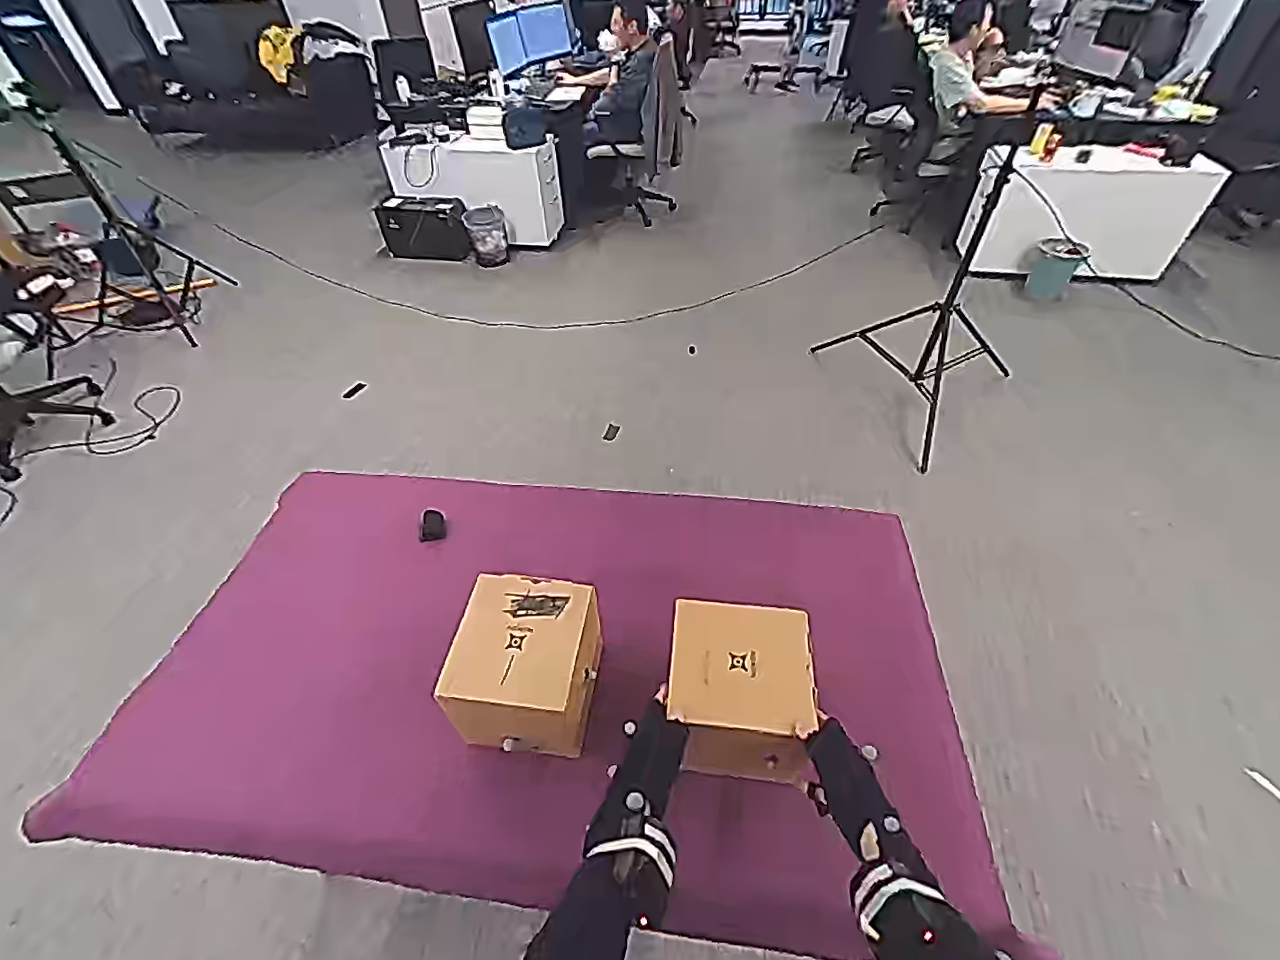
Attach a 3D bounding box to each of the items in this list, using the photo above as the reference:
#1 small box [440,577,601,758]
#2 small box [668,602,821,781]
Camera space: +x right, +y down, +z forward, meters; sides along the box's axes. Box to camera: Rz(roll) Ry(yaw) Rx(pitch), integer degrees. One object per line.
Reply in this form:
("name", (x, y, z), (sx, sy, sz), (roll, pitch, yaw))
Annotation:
("small box", (-0.151, 0.262, 0.758), (0.168, 0.176, 0.179), (4, 46, 6))
("small box", (0.130, 0.286, 0.727), (0.179, 0.176, 0.168), (2, 44, 6))
